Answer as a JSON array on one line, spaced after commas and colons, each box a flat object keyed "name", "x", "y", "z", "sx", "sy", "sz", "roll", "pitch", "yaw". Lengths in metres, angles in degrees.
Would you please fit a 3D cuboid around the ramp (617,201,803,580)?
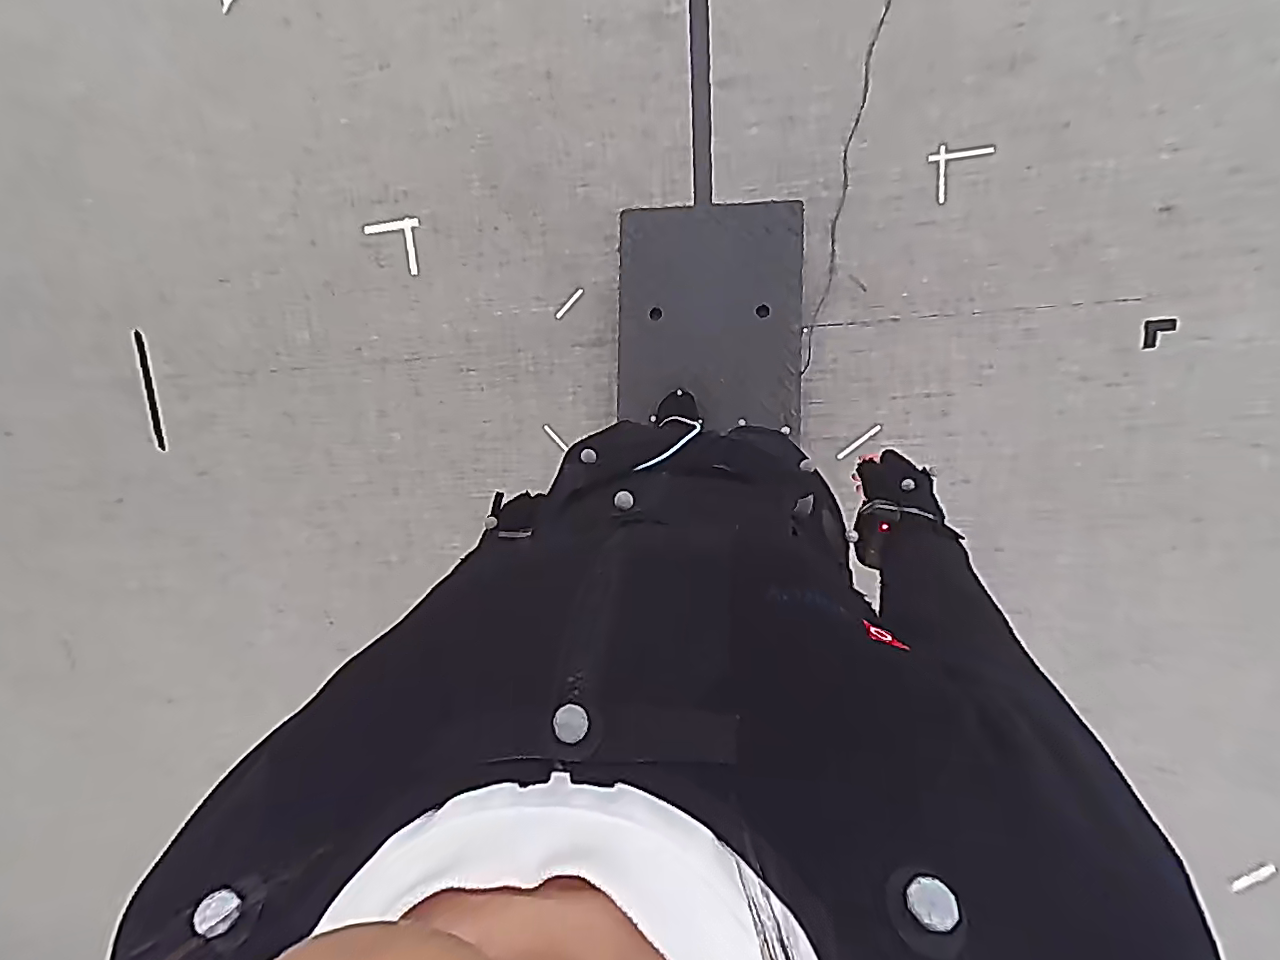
[{"name": "ramp", "x": 0.181, "y": -0.239, "z": 1.448, "sx": 0.509, "sy": 0.206, "sz": 0.991, "roll": -1, "pitch": 99, "yaw": 10}]
